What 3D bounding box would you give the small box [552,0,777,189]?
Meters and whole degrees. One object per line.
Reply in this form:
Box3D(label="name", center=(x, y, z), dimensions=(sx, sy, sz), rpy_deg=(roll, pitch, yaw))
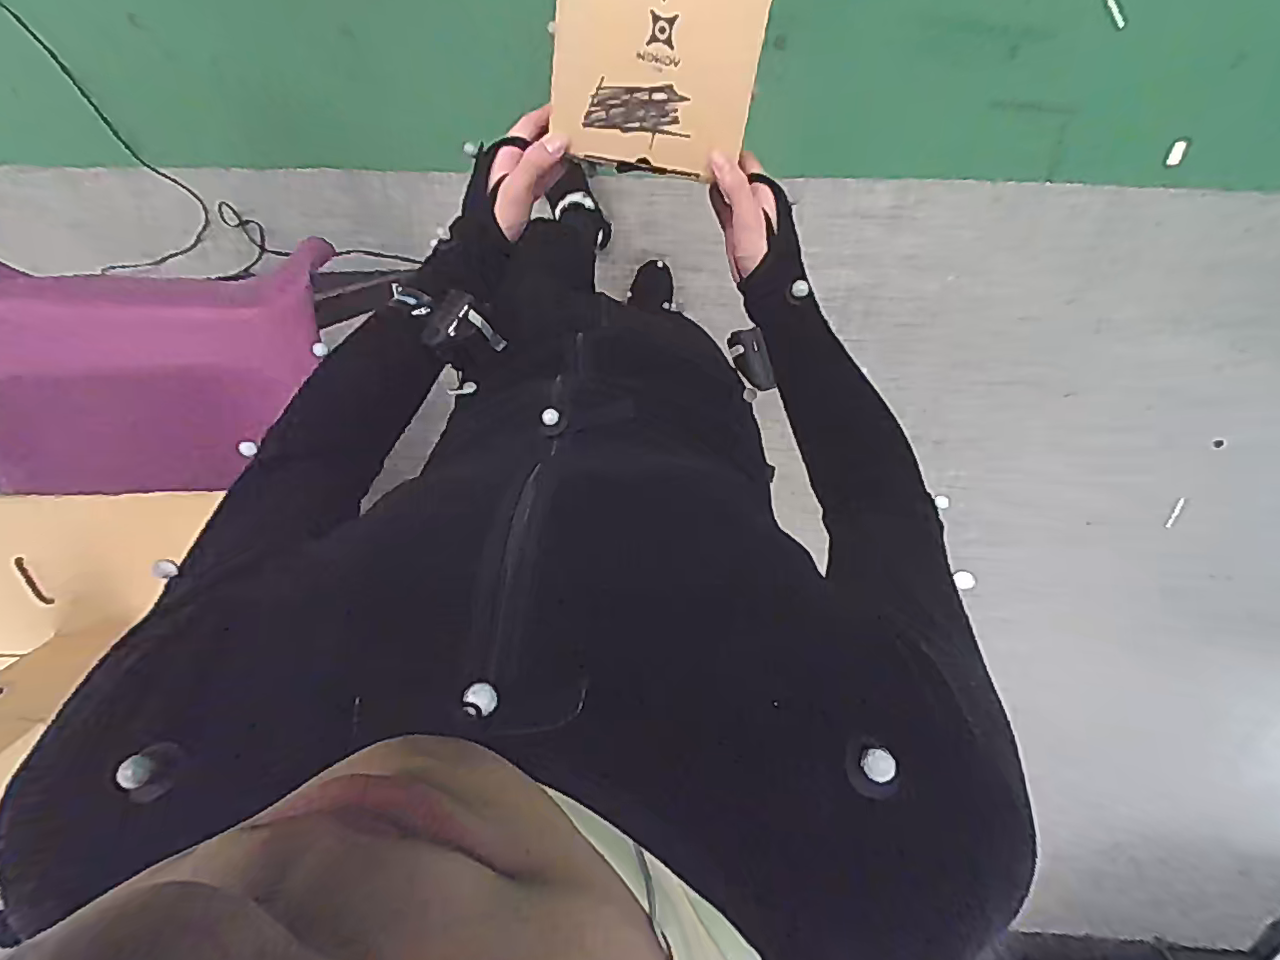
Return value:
Box3D(label="small box", center=(0.016, -0.381, 0.499), dimensions=(0.168, 0.176, 0.179), rpy_deg=(7, 118, -6))
